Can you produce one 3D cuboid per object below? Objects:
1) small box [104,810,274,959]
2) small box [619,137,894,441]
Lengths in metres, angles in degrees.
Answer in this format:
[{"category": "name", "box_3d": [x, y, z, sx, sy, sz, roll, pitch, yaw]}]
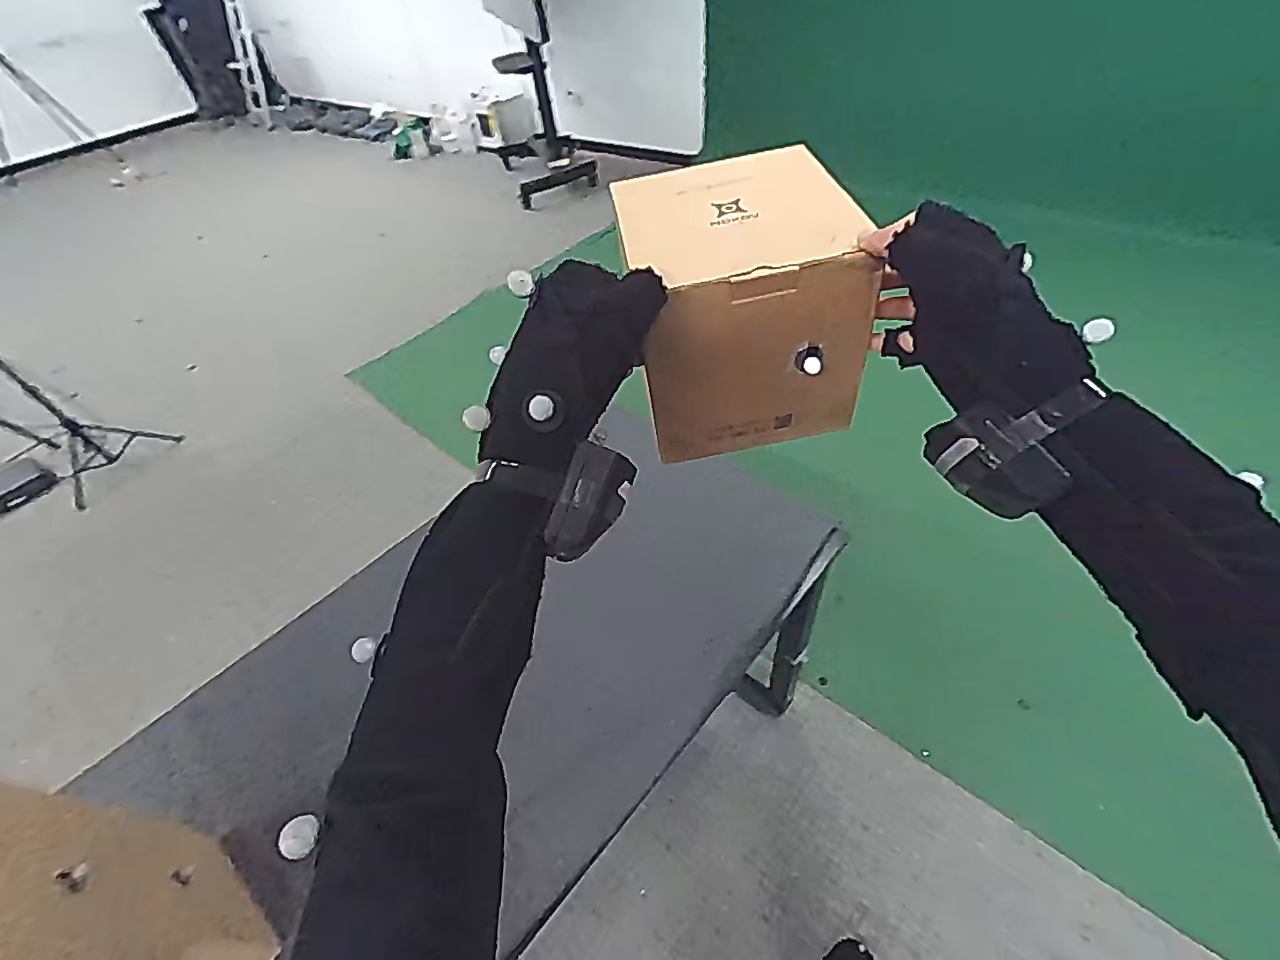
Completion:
[{"category": "small box", "box_3d": [-0.514, 0.475, 0.535, 0.179, 0.176, 0.168, 26, 54, 28]}, {"category": "small box", "box_3d": [0.084, -0.150, 0.455, 0.168, 0.176, 0.179, -11, 51, 1]}]
